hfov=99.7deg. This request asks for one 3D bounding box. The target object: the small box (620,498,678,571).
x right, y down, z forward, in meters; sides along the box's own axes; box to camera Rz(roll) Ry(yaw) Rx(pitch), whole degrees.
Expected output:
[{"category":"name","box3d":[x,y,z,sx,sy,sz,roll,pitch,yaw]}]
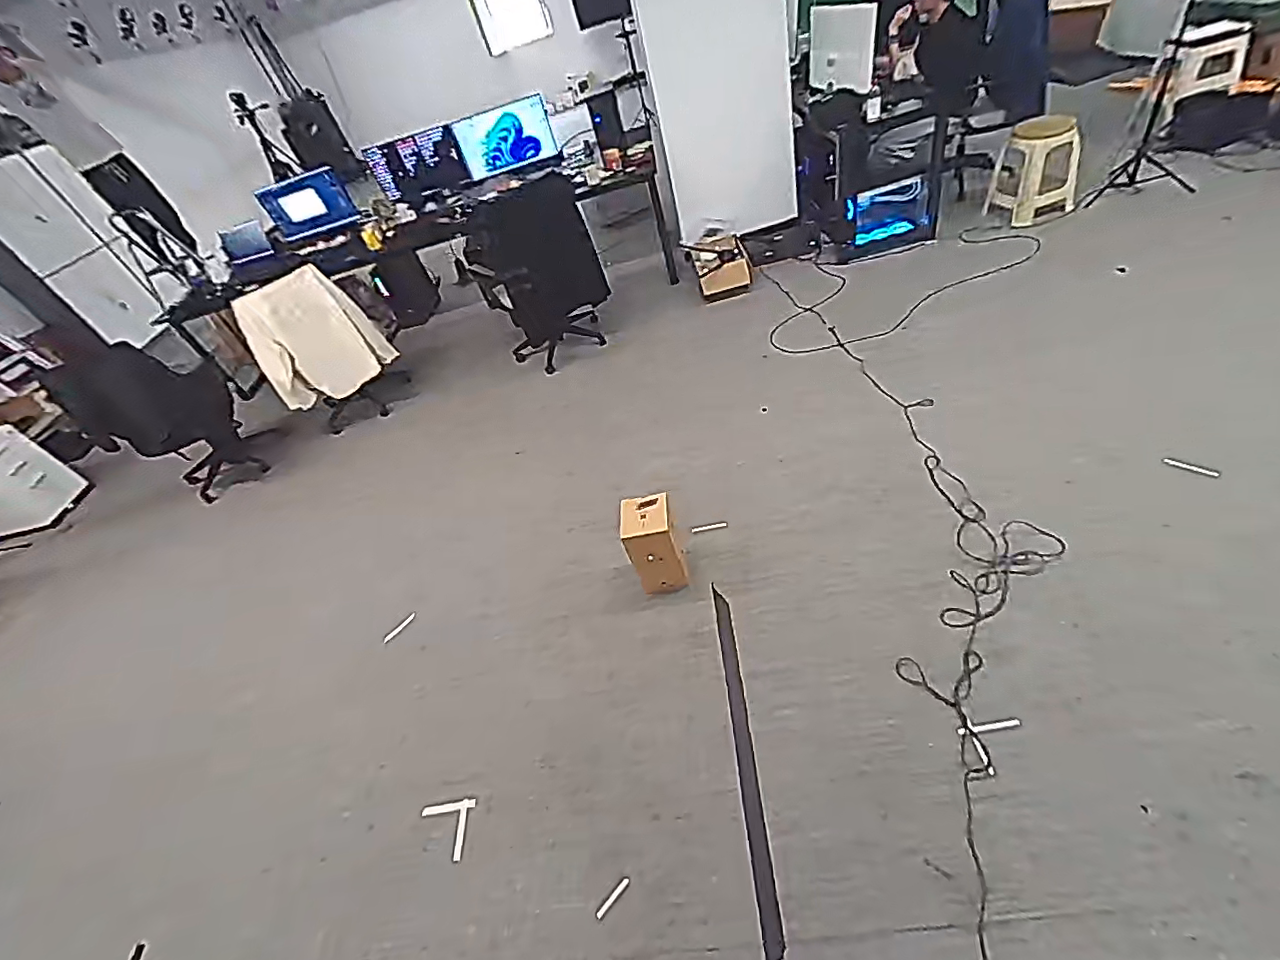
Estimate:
[{"category":"small box","box3d":[0.035,0.191,1.887,0.168,0.176,0.179,-12,43,10]}]
